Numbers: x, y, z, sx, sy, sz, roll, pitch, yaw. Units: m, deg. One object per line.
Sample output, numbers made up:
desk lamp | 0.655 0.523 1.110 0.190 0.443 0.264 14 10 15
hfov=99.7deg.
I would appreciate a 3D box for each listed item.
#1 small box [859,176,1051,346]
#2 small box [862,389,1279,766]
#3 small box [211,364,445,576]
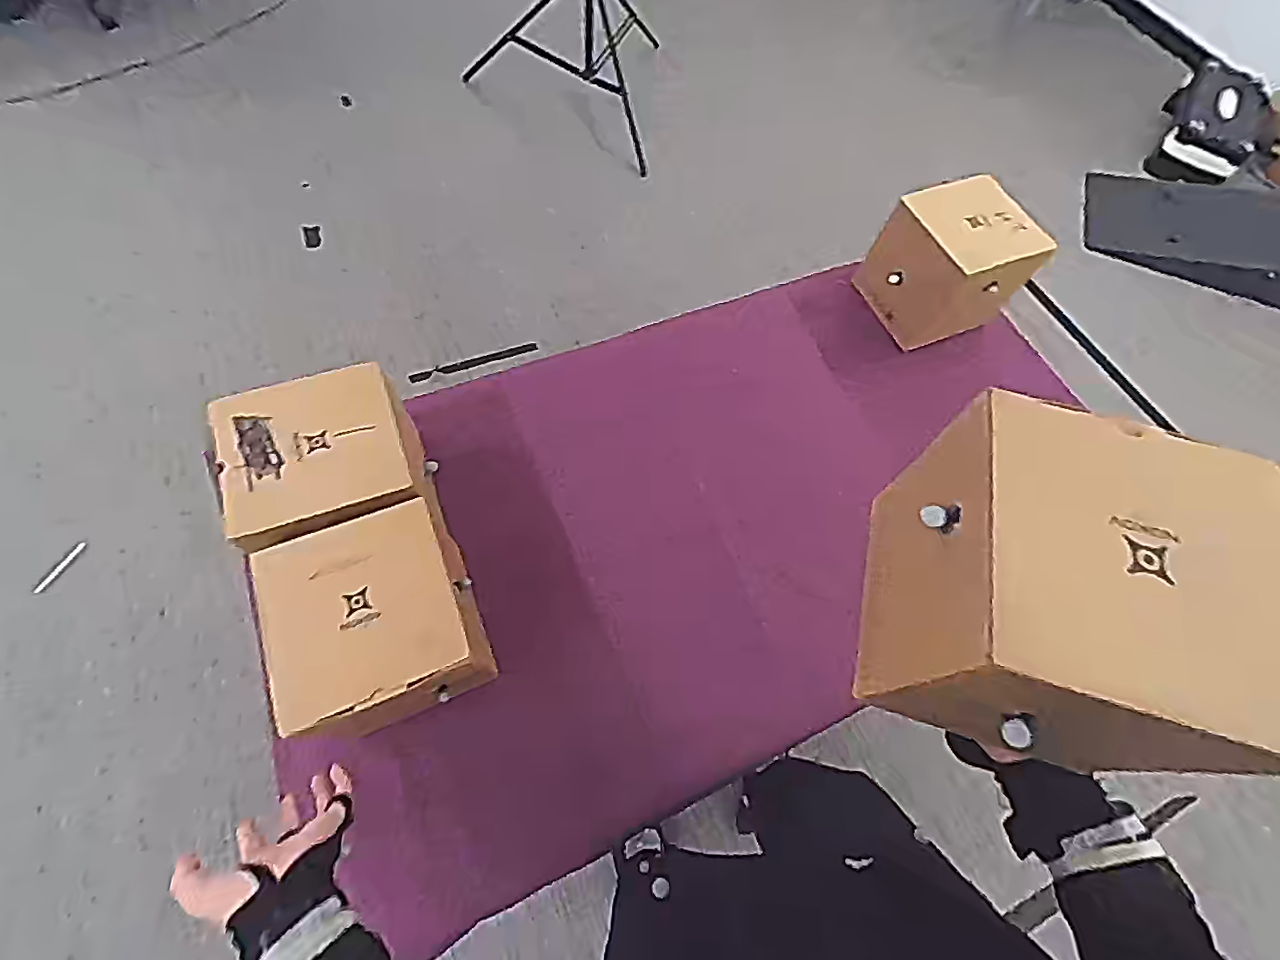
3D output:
small box | 0.479 -0.340 0.860 0.179 0.176 0.168 -20 69 -14
small box | 0.265 0.075 0.360 0.168 0.176 0.179 16 62 6
small box | -0.350 -0.003 0.633 0.179 0.176 0.168 -18 70 -14
